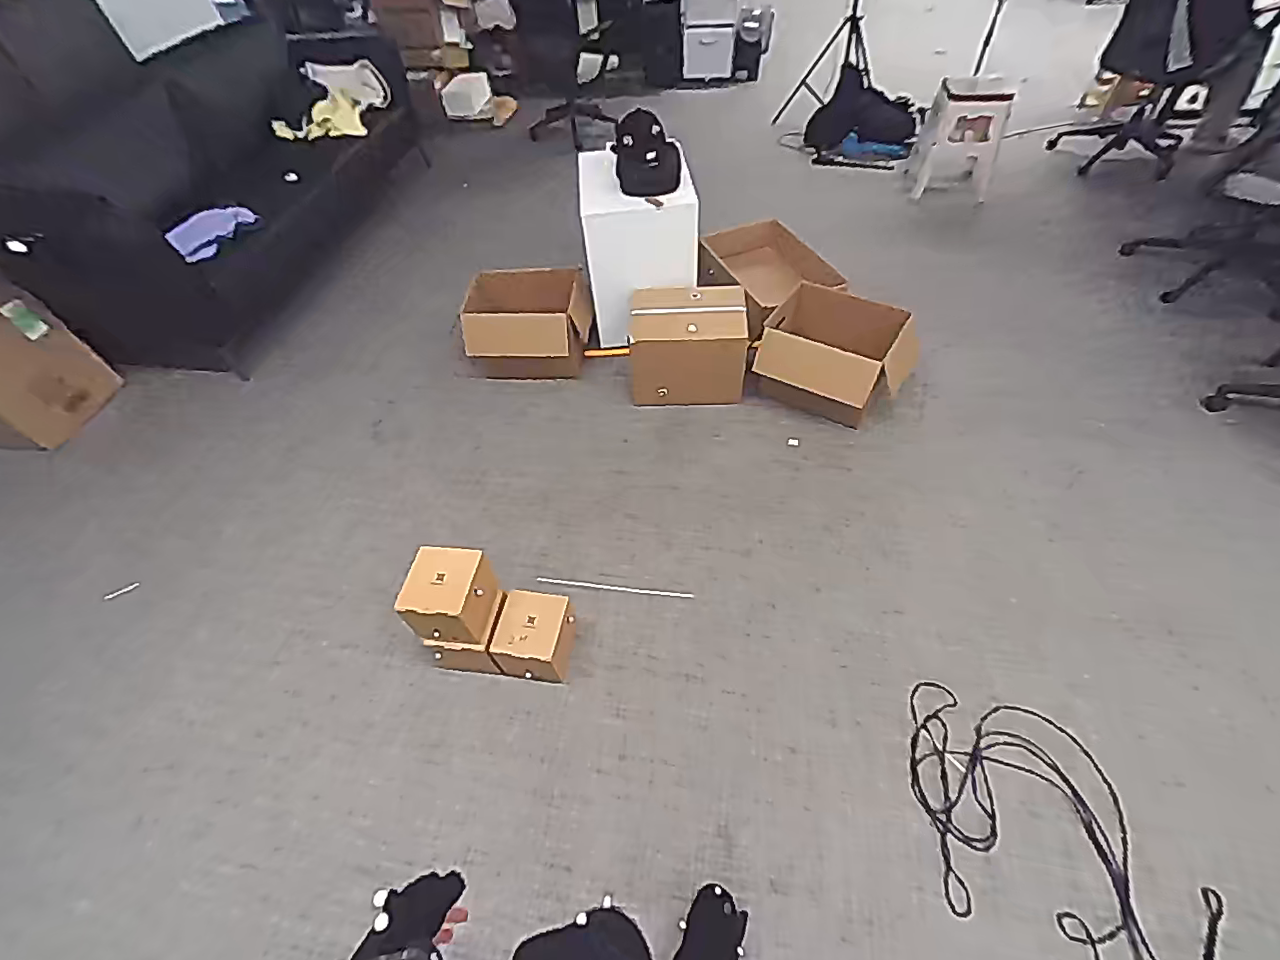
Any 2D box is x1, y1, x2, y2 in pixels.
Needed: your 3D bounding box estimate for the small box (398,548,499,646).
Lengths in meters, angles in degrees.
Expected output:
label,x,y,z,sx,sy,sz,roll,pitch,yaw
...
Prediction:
label,x,y,z,sx,sy,sz,roll,pitch,yaw
small box,-0.466,0.292,1.350,0.168,0.176,0.179,4,52,7
